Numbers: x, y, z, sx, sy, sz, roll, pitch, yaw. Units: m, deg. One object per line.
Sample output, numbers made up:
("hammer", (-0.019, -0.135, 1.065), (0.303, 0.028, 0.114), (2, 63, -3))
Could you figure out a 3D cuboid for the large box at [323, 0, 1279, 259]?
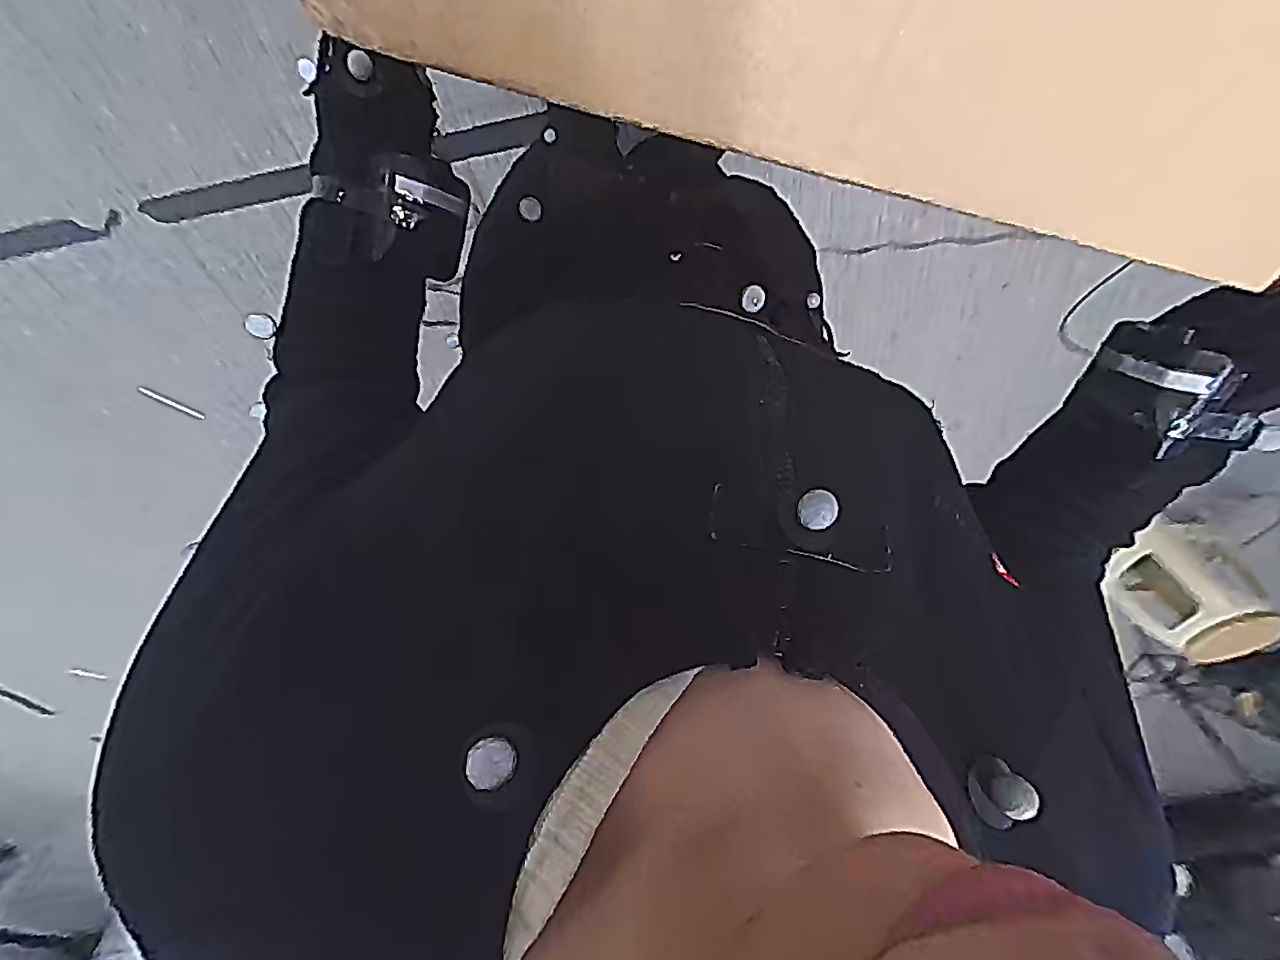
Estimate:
("large box", (0.107, -0.326, 0.212), (0.408, 0.320, 0.320), (3, 134, -16))
